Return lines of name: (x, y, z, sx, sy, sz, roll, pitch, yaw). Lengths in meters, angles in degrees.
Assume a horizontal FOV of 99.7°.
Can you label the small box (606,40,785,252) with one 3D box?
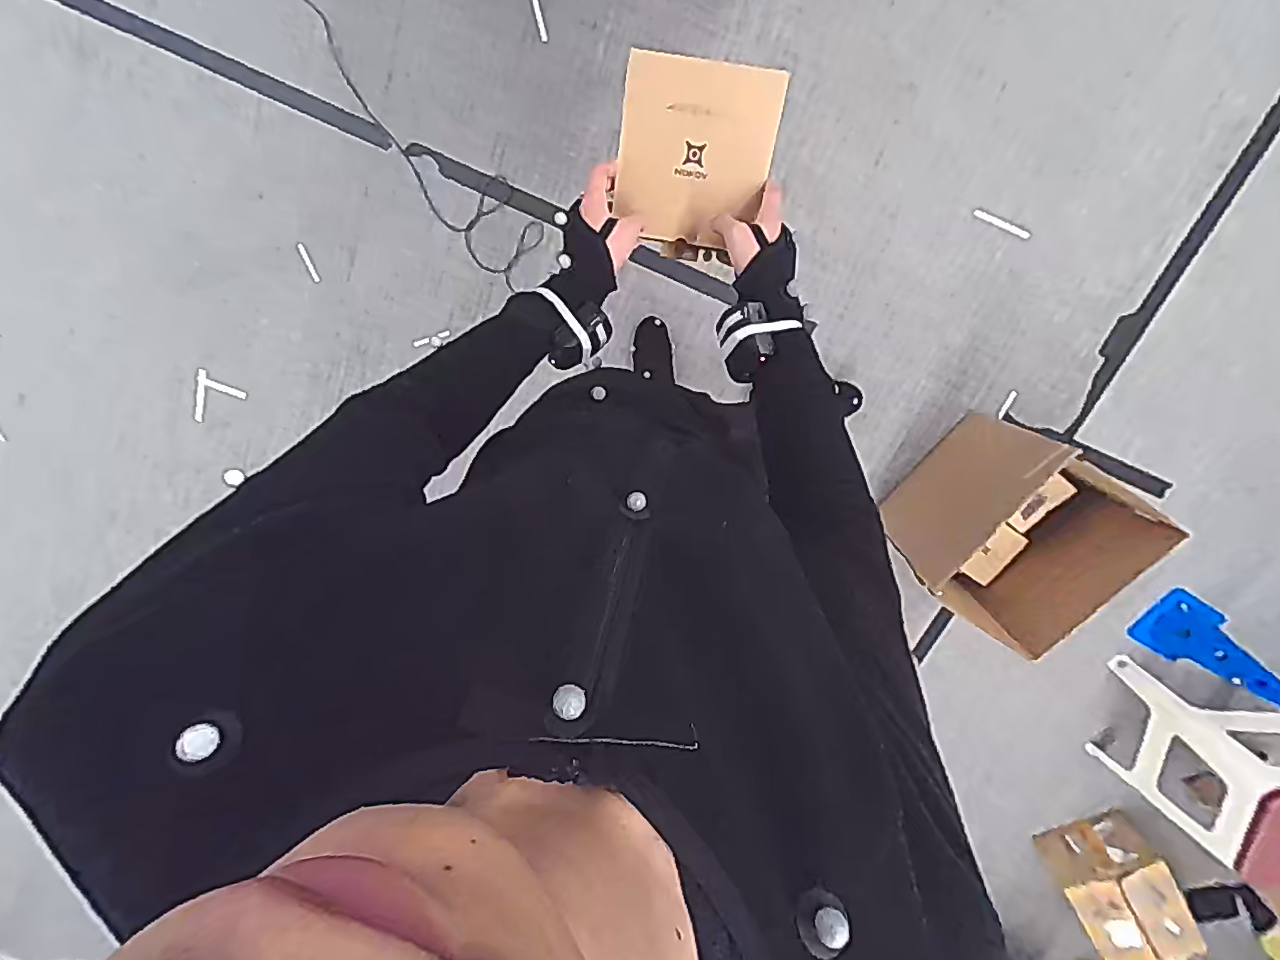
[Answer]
small box: (0.061, -0.379, 0.641, 0.168, 0.176, 0.179, 9, 116, 1)
